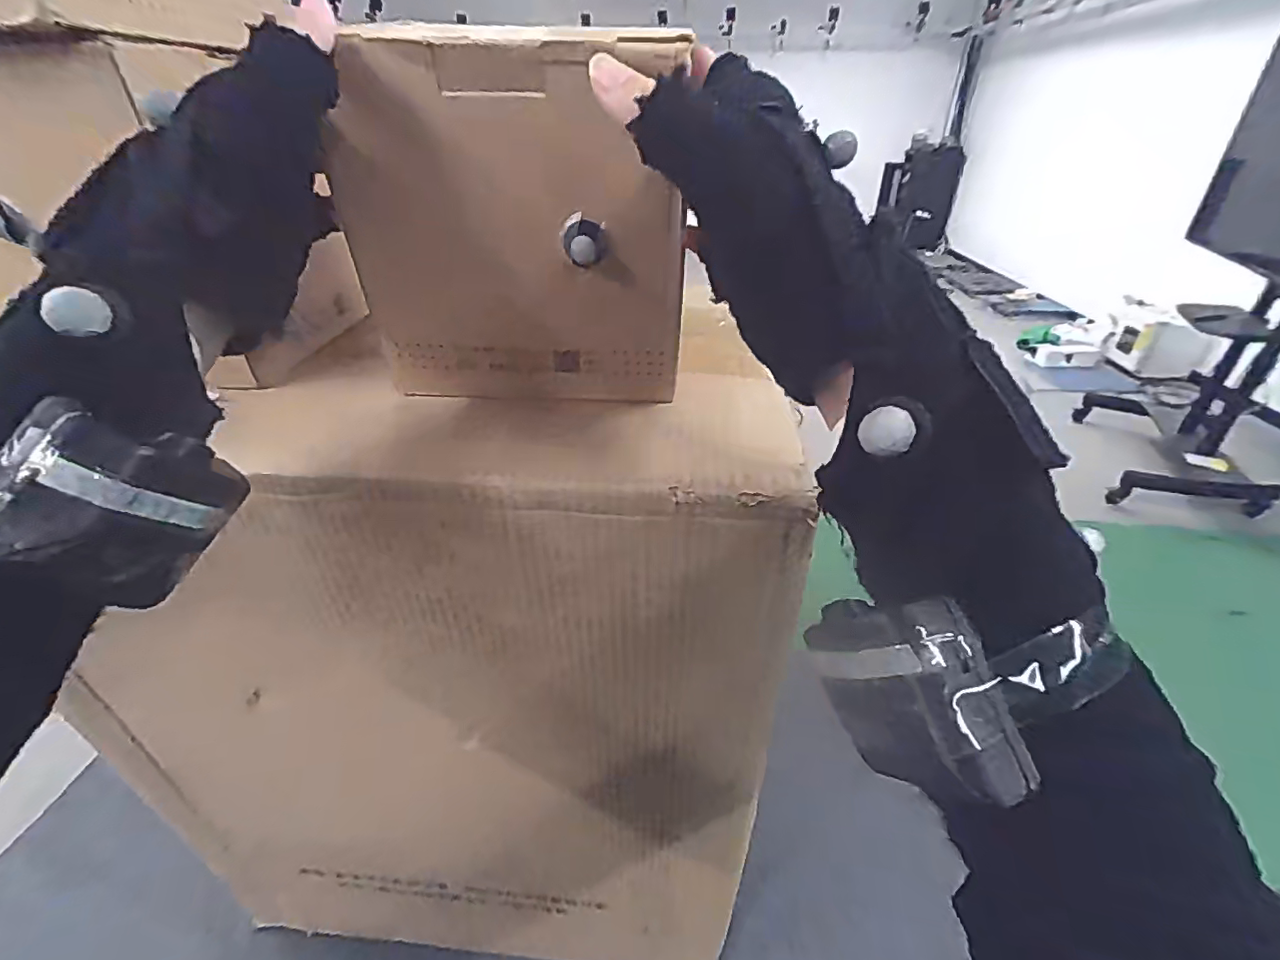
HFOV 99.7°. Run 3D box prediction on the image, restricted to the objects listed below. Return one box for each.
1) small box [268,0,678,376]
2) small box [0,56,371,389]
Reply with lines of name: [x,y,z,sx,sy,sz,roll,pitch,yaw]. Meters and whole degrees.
small box: [-0.064,-0.174,0.324,0.168,0.176,0.179,-1,42,0]
small box: [-0.312,-0.168,0.357,0.179,0.176,0.168,0,36,3]
